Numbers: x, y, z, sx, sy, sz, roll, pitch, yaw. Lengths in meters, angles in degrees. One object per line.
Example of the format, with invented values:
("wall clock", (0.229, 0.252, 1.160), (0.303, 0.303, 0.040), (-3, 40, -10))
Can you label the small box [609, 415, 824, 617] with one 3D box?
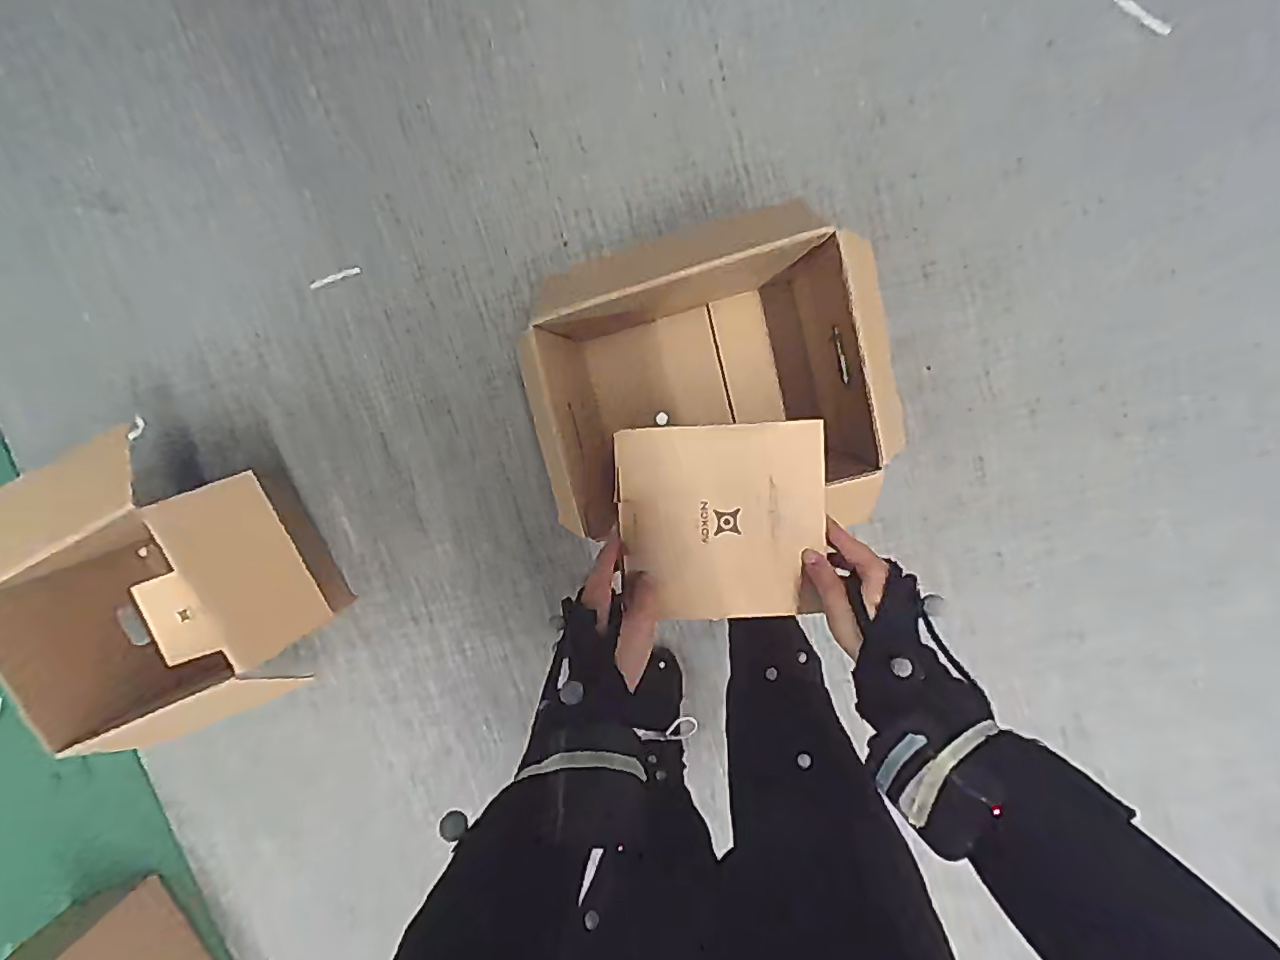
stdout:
("small box", (0.064, 0.027, 0.527), (0.179, 0.176, 0.168), (-3, 94, -1))

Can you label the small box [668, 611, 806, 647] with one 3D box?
("small box", (0.163, 0.165, 0.934), (0.179, 0.168, 0.176), (24, 130, -11))
